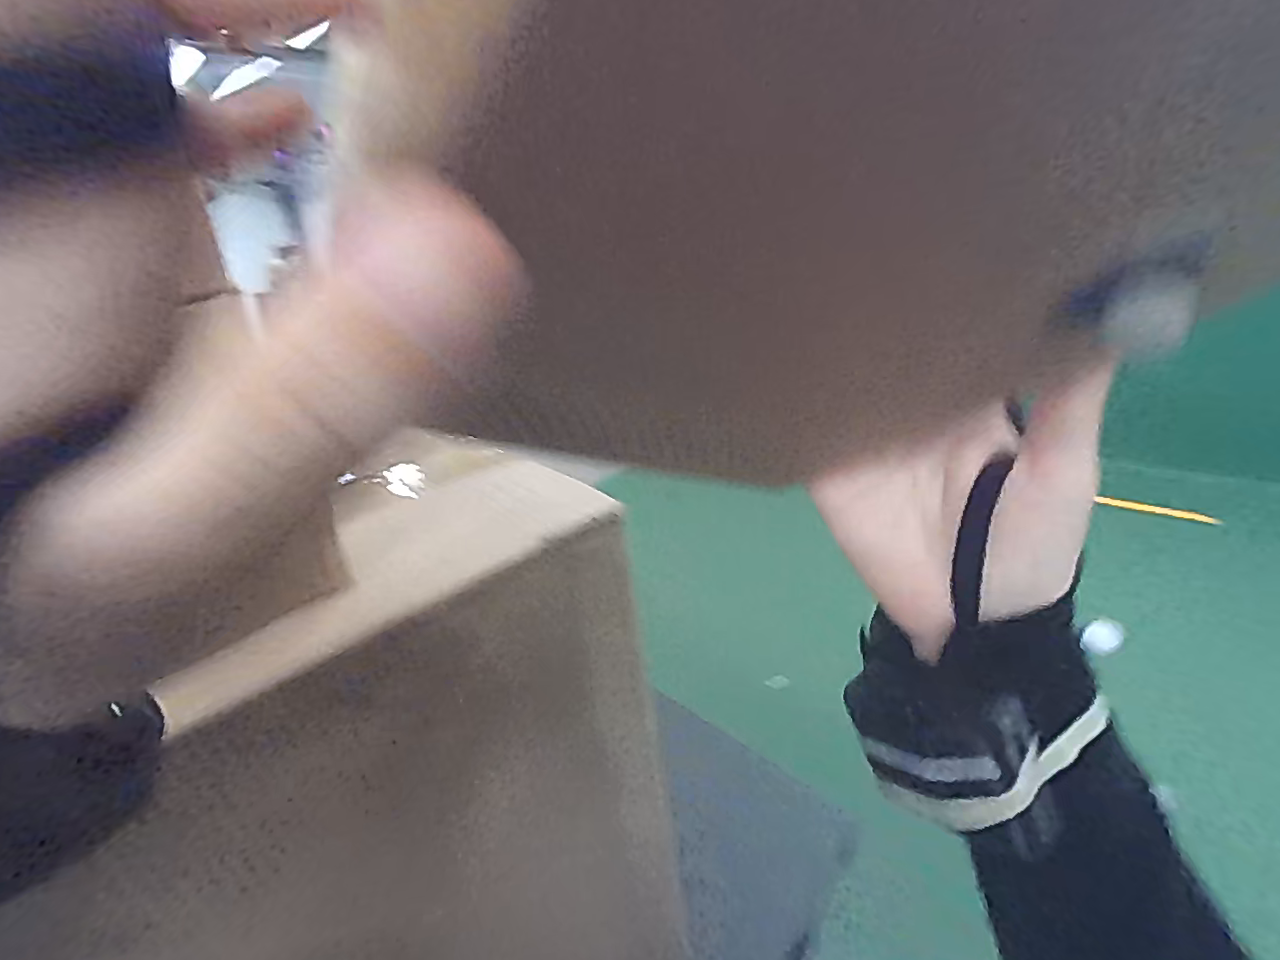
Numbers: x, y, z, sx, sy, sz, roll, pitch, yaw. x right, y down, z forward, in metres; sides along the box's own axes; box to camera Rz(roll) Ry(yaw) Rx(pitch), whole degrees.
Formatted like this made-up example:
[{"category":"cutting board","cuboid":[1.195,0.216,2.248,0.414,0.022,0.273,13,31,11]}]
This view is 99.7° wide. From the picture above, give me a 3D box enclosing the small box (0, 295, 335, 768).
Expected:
[{"category":"small box","cuboid":[-0.288,0.008,0.286,0.179,0.176,0.168,-26,34,-36]}]
